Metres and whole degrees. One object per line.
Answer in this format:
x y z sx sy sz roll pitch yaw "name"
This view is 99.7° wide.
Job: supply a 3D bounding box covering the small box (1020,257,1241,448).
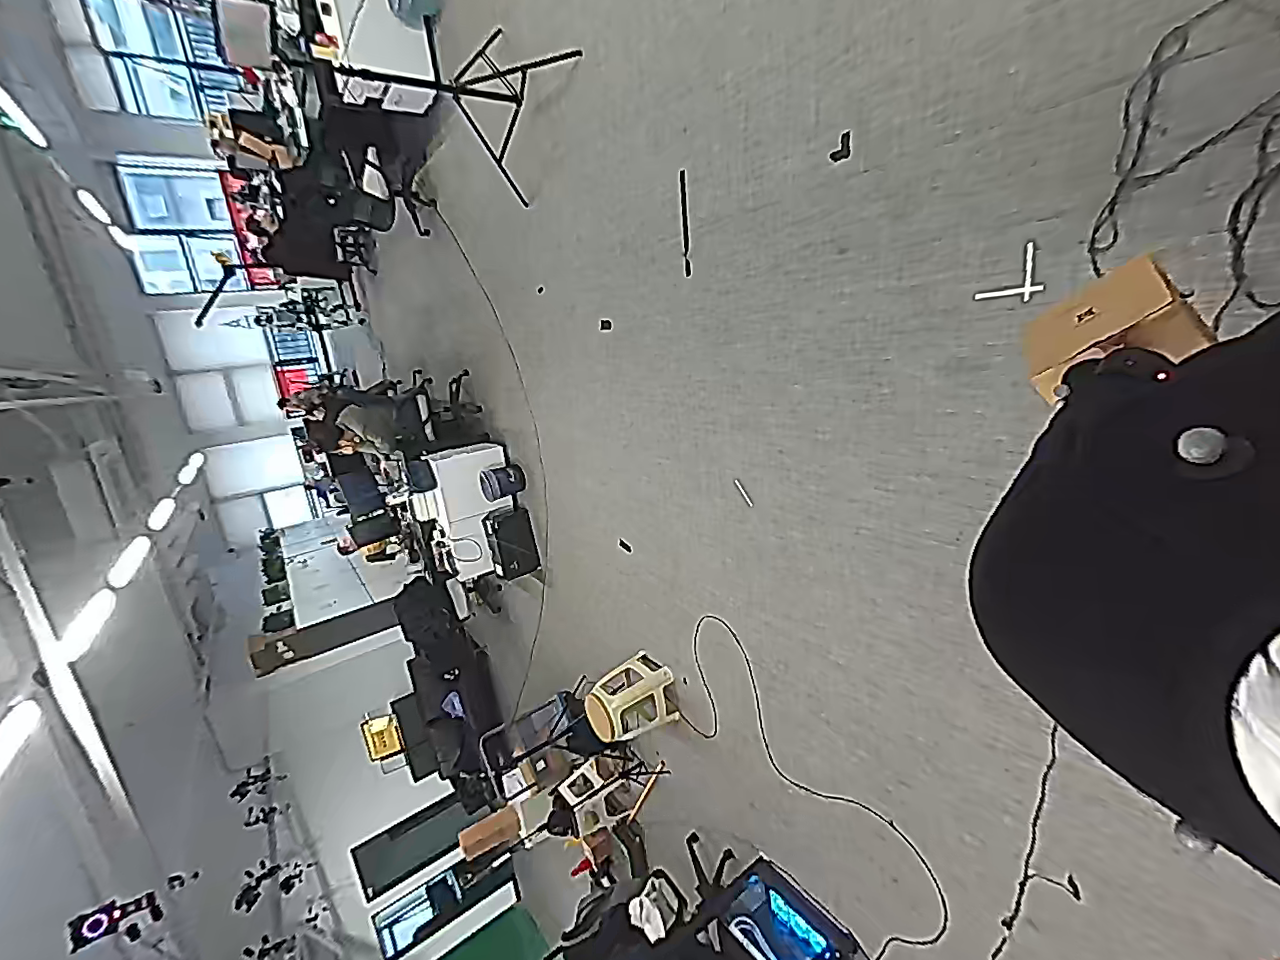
0.675 -0.168 0.759 0.176 0.179 0.168 42 138 -9 "small box"
